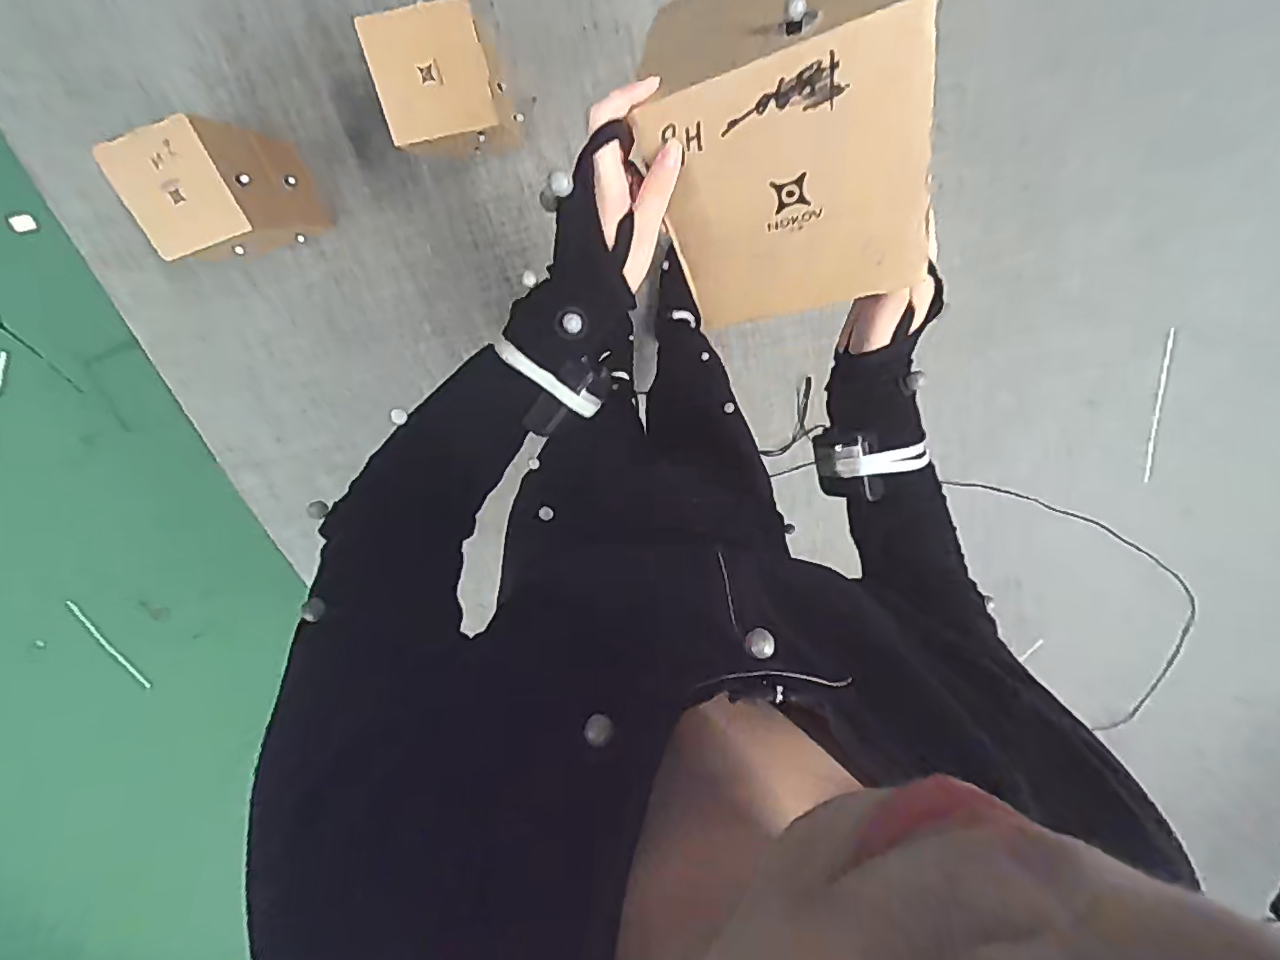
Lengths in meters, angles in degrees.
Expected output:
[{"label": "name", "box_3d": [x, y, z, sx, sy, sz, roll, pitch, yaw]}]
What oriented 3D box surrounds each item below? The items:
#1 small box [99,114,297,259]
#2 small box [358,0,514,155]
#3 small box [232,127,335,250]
[{"label": "small box", "box_3d": [-0.752, -0.507, 0.948, 0.168, 0.176, 0.179, -17, 116, 3]}, {"label": "small box", "box_3d": [-0.327, -0.659, 0.905, 0.179, 0.176, 0.168, -11, 116, 1]}, {"label": "small box", "box_3d": [-0.762, -0.583, 1.094, 0.168, 0.176, 0.179, -16, 116, 3]}]
